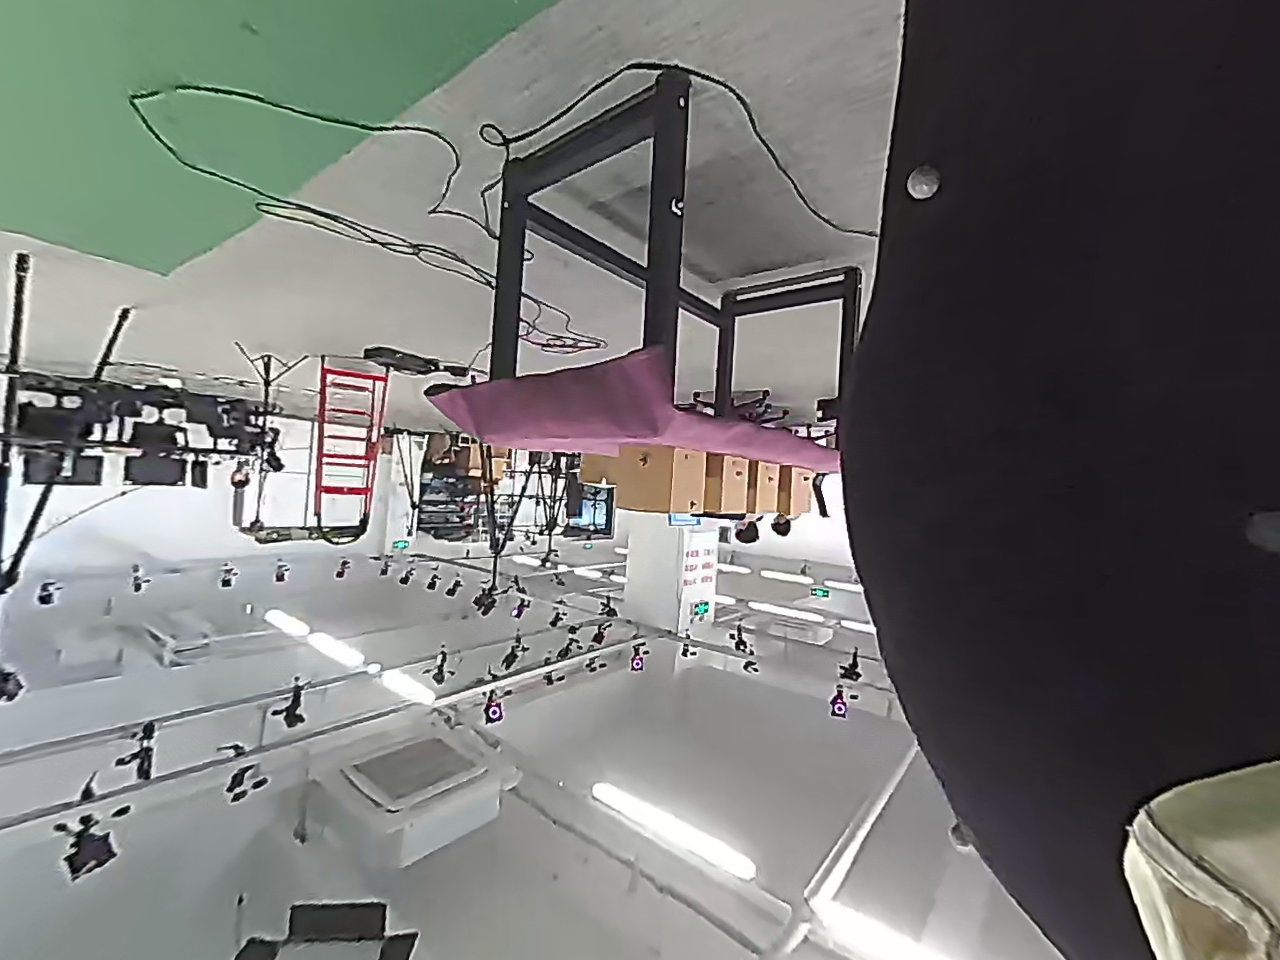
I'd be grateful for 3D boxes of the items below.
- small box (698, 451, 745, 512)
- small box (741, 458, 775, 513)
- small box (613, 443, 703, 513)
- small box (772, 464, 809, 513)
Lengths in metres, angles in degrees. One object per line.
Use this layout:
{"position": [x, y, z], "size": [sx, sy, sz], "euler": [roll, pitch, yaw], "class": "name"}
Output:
{"position": [0.202, 0.006, 1.622], "size": [0.179, 0.176, 0.168], "euler": [2, 179, 35], "class": "small box"}
{"position": [0.340, 0.018, 1.811], "size": [0.179, 0.176, 0.168], "euler": [3, 179, 37], "class": "small box"}
{"position": [0.052, -0.005, 1.428], "size": [0.179, 0.176, 0.168], "euler": [4, 180, 36], "class": "small box"}
{"position": [0.509, 0.030, 1.995], "size": [0.179, 0.176, 0.168], "euler": [2, 179, 42], "class": "small box"}
